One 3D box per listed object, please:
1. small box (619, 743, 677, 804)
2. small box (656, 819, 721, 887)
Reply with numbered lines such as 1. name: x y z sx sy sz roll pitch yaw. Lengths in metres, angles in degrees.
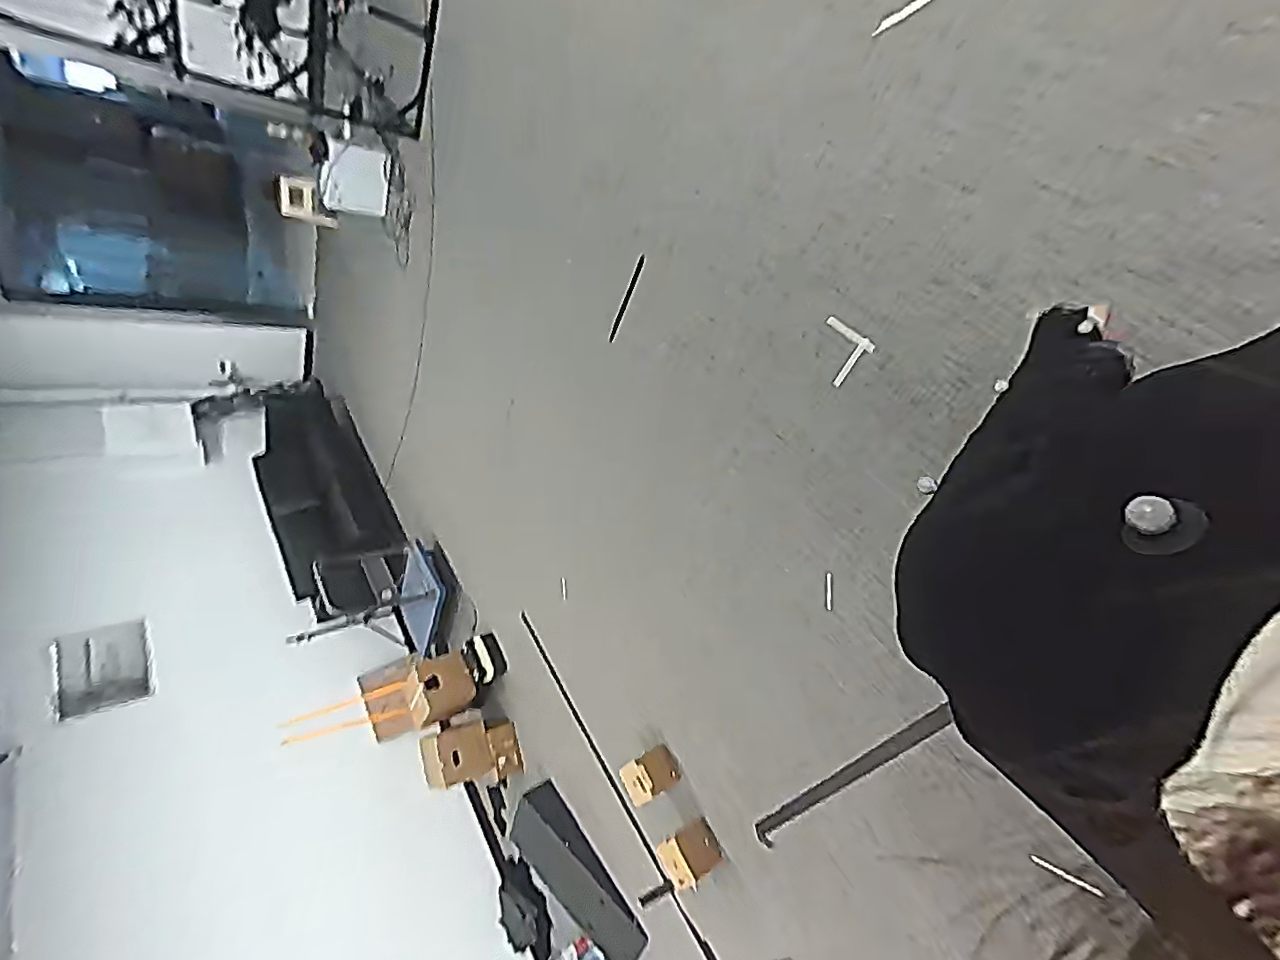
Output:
1. small box: 0.041 1.309 2.417 0.168 0.176 0.179 58 135 25
2. small box: 0.205 1.559 2.274 0.179 0.176 0.168 58 134 26
